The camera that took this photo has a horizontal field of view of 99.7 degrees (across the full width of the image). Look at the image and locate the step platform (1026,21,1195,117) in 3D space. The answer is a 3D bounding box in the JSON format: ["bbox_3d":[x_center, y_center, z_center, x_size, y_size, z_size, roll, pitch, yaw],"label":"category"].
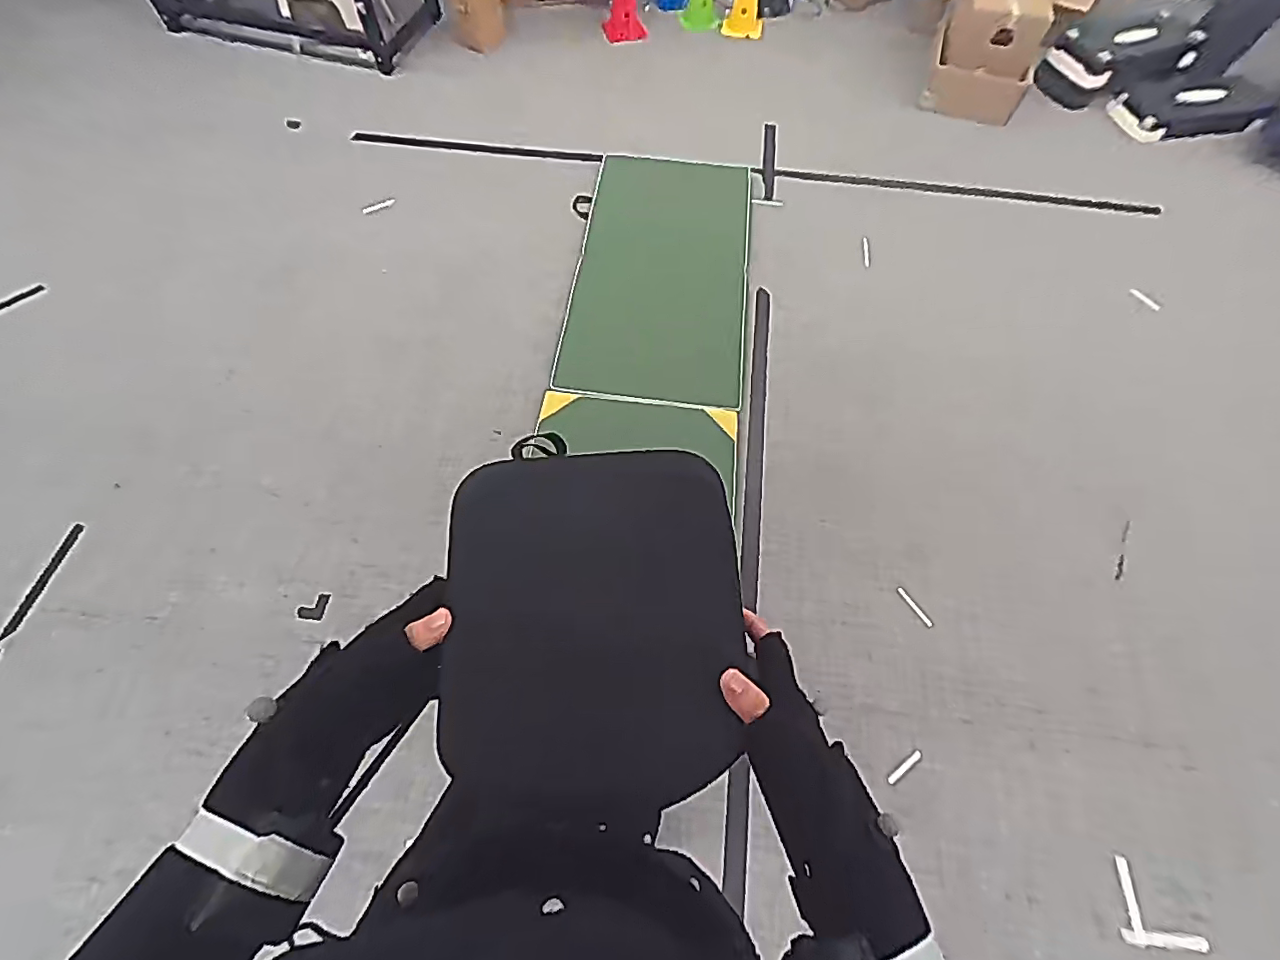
[{"bbox_3d":[2.216,-1.939,2.546,0.684,0.204,0.286,-20,66,-11],"label":"step platform"}]
